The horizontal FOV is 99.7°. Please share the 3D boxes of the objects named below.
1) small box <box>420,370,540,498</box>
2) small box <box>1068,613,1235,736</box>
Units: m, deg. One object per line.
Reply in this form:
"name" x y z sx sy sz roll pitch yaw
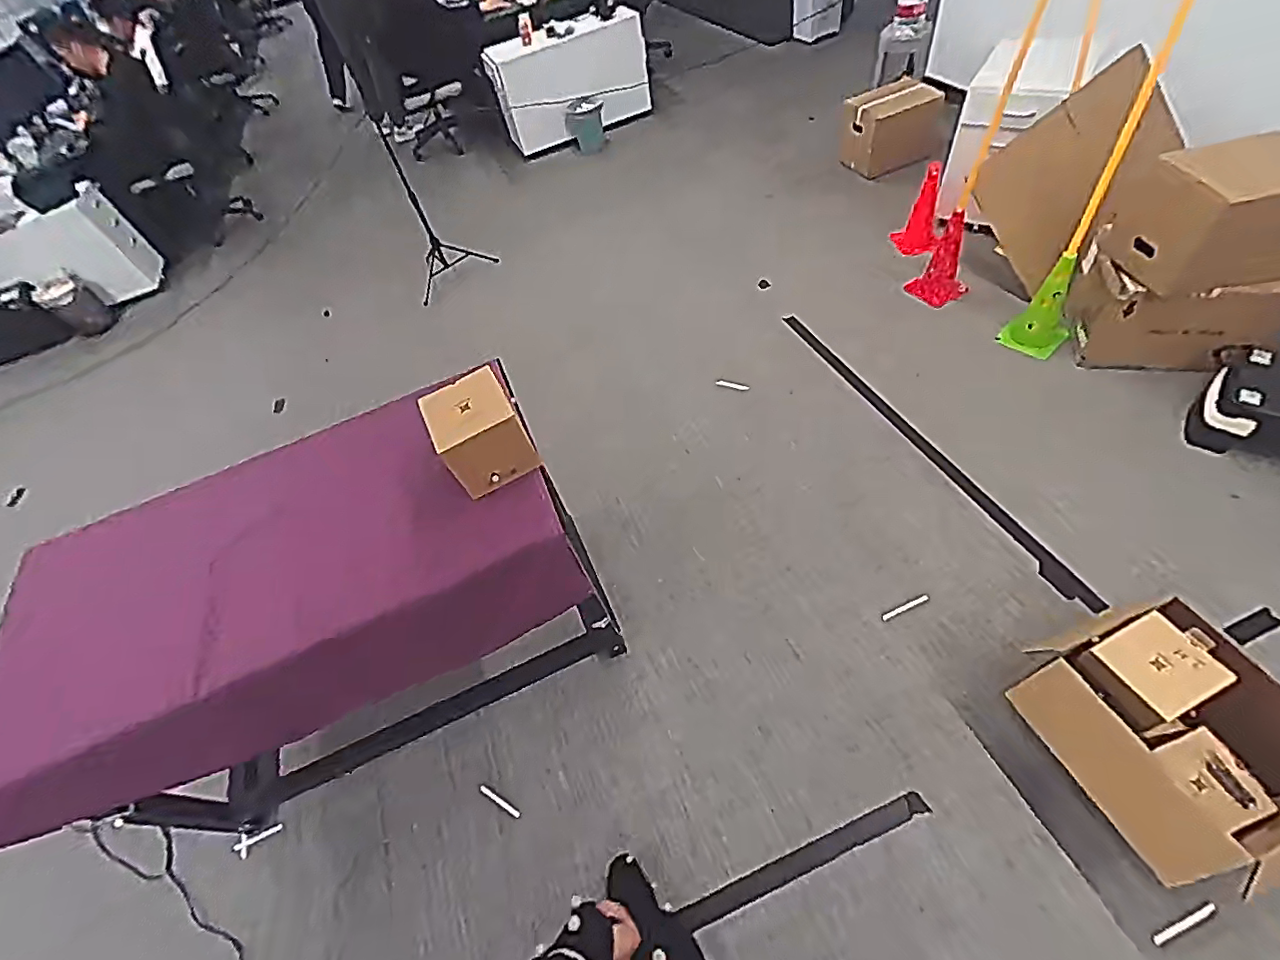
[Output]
"small box" -0.335 -0.094 1.146 0.168 0.176 0.179 -29 53 -7
"small box" 1.067 0.420 1.153 0.179 0.176 0.168 -25 53 -6
